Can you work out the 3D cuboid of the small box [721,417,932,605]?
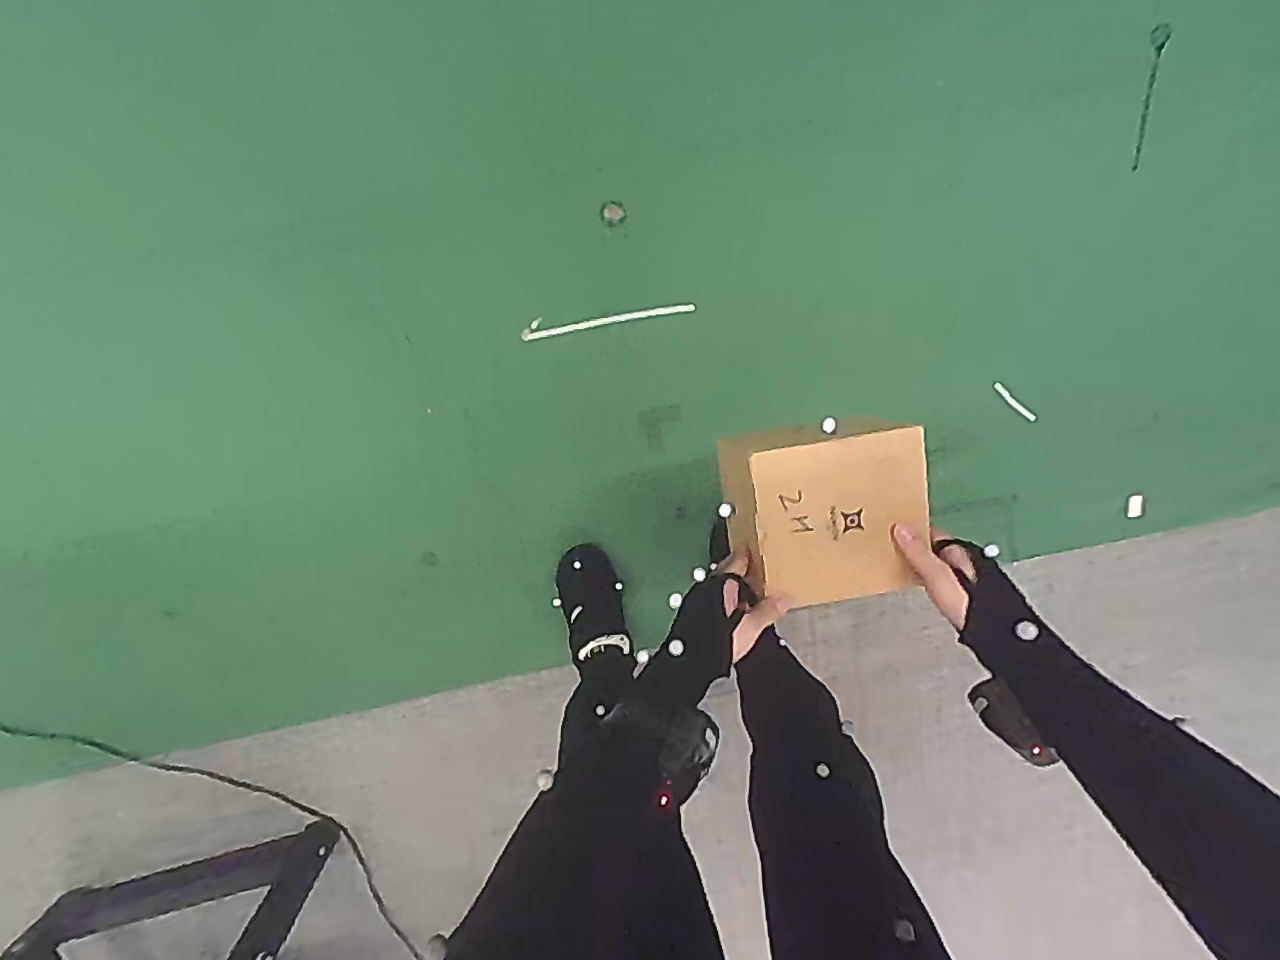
[{"bbox_3d":[0.202,0.023,0.622,0.179,0.176,0.168,-9,100,-1],"label":"small box"}]
